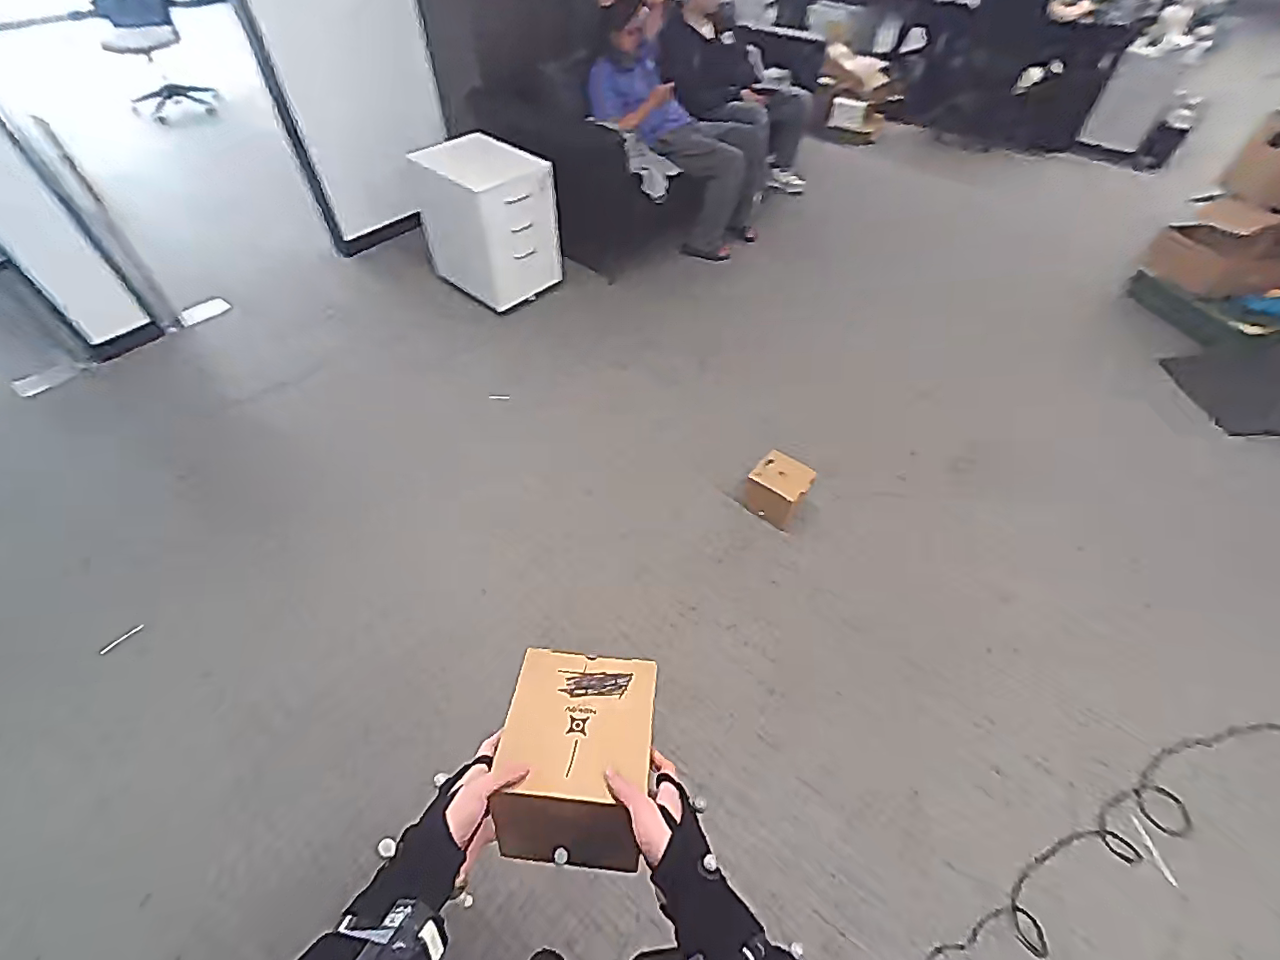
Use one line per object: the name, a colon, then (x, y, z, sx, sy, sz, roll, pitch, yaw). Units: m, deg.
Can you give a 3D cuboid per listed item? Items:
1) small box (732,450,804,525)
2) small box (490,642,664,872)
small box: (0.446, 0.035, 1.907, 0.179, 0.176, 0.168, 31, 57, 21)
small box: (-0.068, 0.331, 0.655, 0.168, 0.176, 0.179, 7, 35, 5)
